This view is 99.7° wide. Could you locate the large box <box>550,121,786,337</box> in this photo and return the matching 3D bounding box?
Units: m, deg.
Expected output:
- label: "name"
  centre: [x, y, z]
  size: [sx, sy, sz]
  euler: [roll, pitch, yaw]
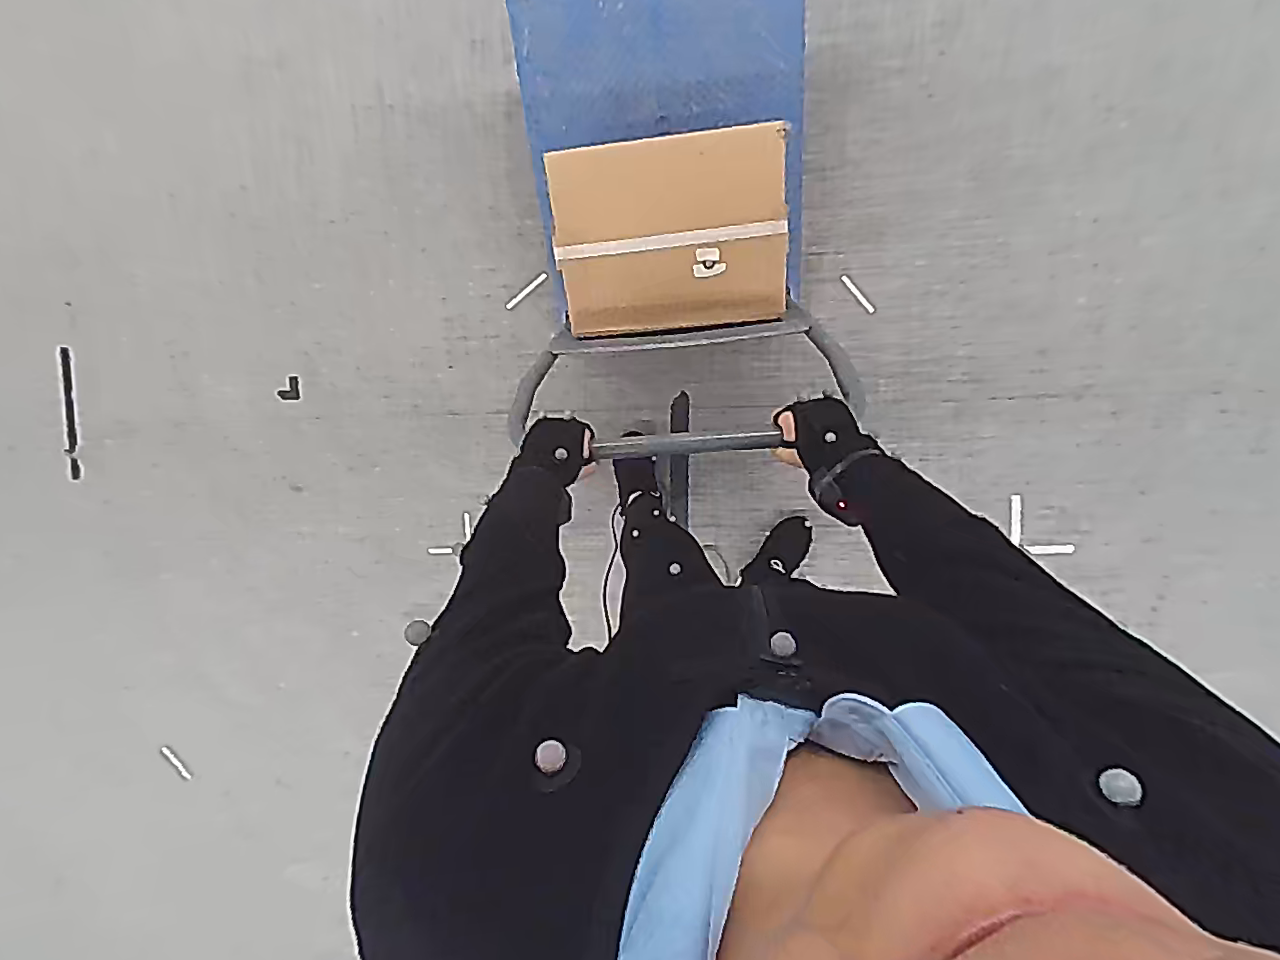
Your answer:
- label: "large box"
  centre: [0.064, -0.498, 1.108]
  size: [0.408, 0.320, 0.320]
  euler: [-5, 115, 5]
